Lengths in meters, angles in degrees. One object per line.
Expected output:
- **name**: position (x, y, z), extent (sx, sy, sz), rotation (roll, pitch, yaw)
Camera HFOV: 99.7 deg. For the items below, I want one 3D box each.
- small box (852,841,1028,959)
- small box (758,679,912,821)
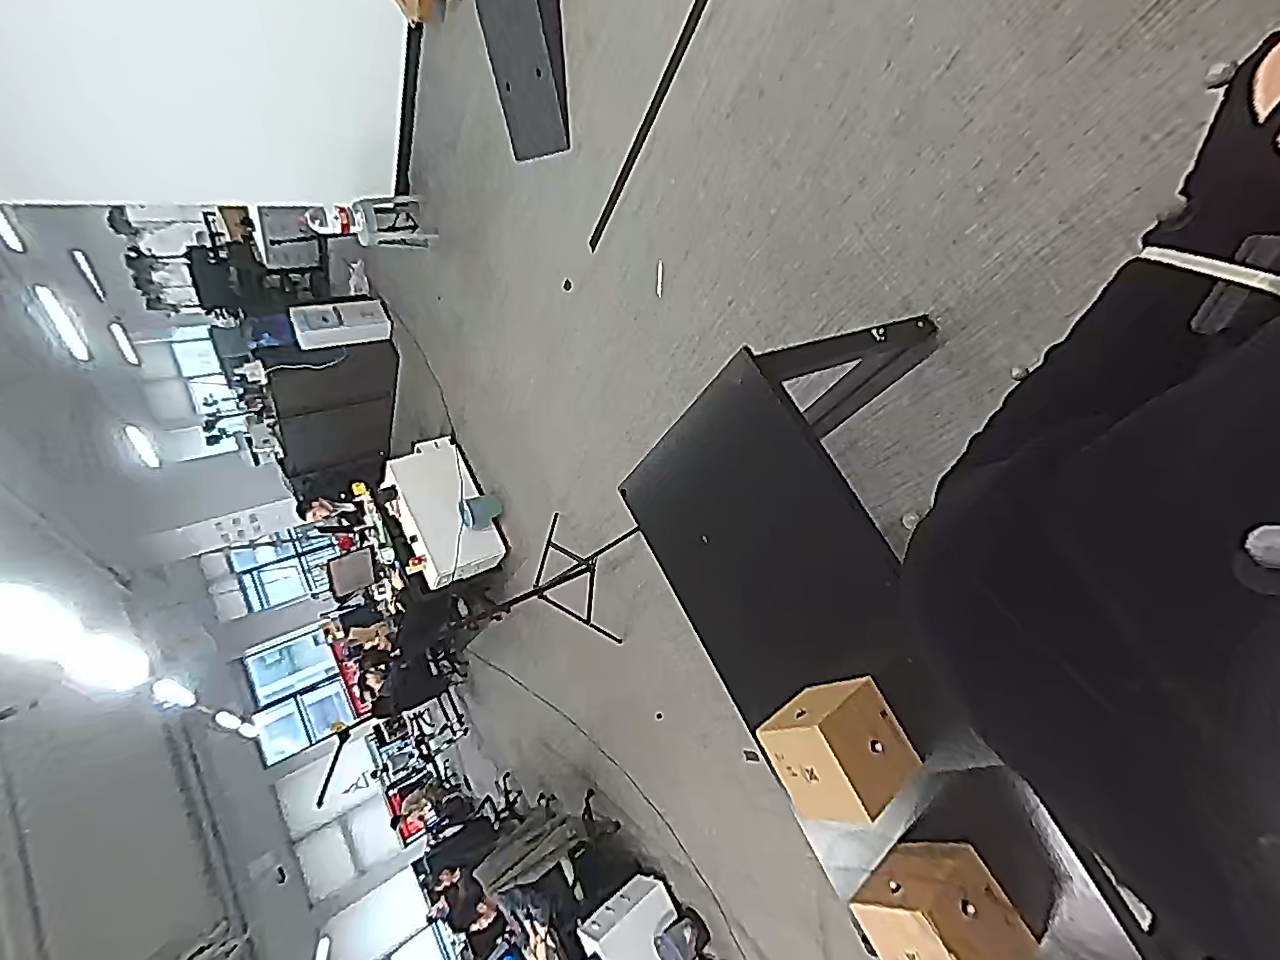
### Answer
- **small box**: position (0.506, 0.740, 0.908), extent (0.168, 0.176, 0.179), rotation (59, 145, 18)
- **small box**: position (0.358, 0.479, 0.978), extent (0.168, 0.176, 0.179), rotation (62, 145, 13)
